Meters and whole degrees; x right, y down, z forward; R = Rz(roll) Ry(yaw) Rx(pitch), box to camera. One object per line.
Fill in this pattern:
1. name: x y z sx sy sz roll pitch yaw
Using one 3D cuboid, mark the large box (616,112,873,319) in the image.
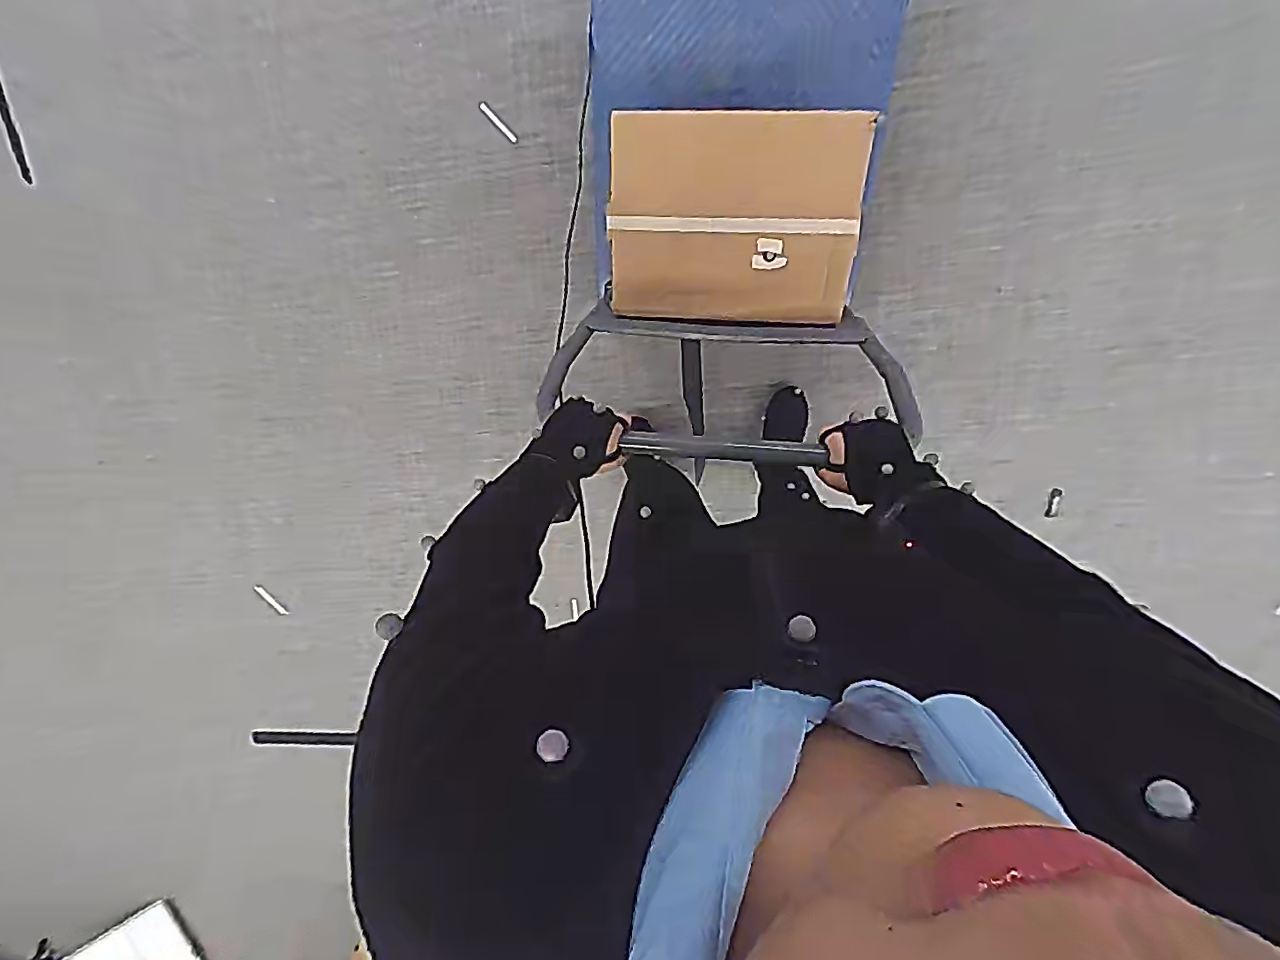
1. large box: 0.174 -0.498 1.041 0.408 0.320 0.320 4 118 5
